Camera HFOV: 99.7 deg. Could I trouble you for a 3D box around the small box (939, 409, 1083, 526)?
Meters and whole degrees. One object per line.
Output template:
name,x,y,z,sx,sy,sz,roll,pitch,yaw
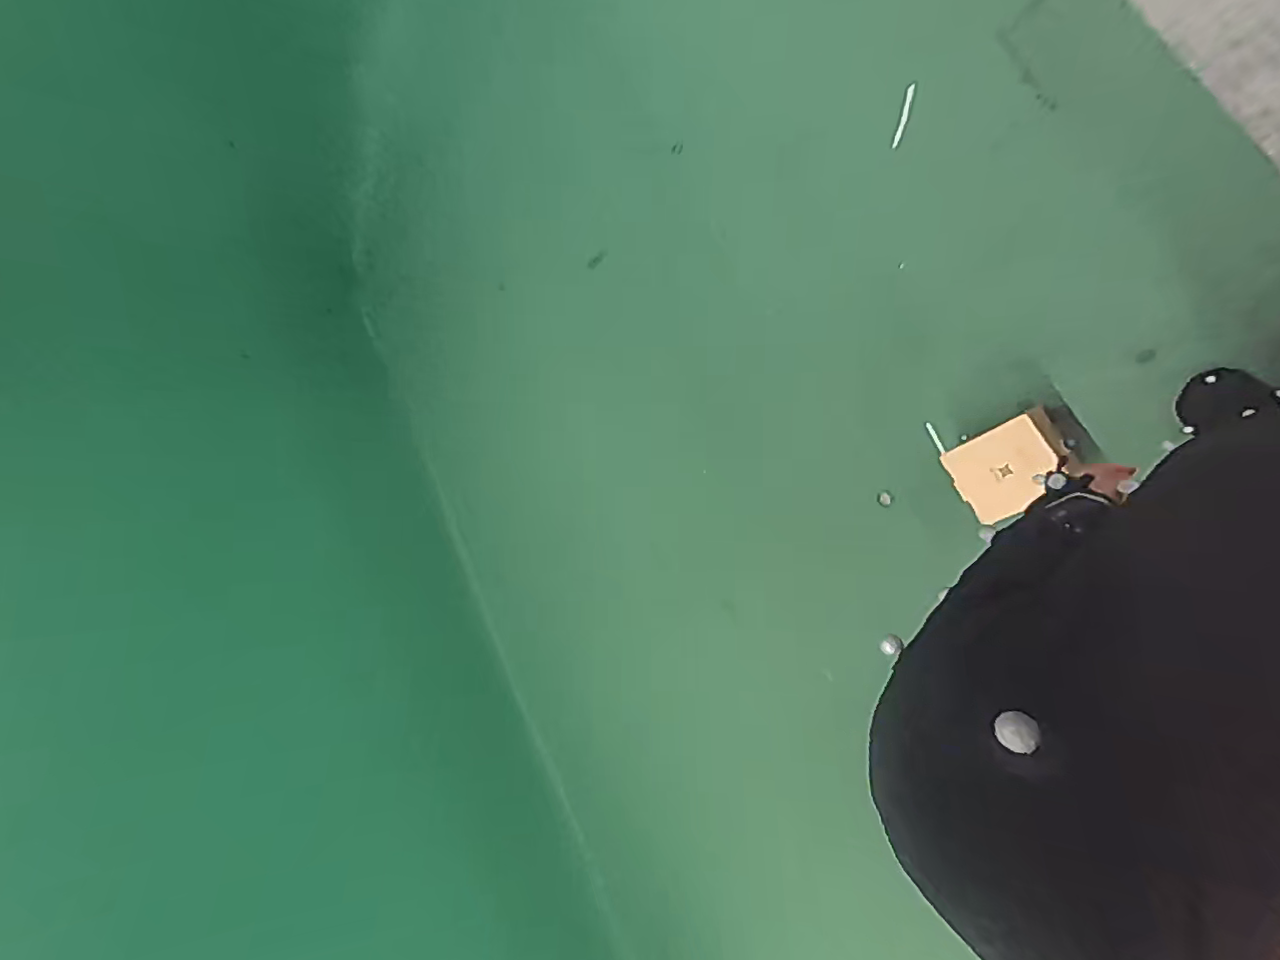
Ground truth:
small box,0.762,-0.028,1.109,0.179,0.176,0.168,-40,74,42
